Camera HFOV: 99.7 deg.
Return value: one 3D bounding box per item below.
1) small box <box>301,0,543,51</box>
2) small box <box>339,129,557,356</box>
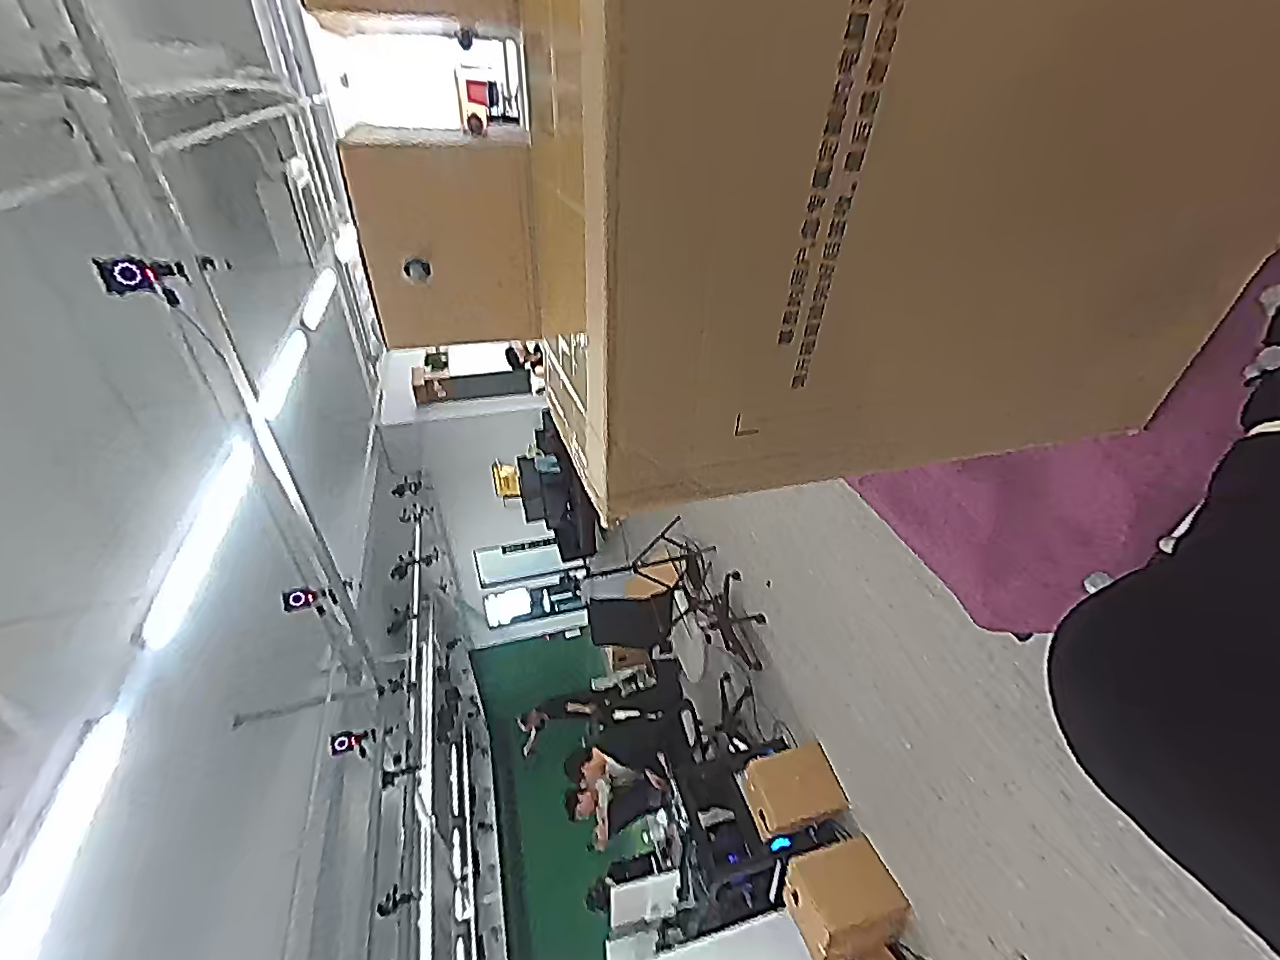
[{"bbox_3d":[-0.177,-0.445,0.411,0.168,0.176,0.179,-118,22,-53],"label":"small box"},{"bbox_3d":[-0.182,-0.245,0.550,0.168,0.176,0.179,-118,25,-49],"label":"small box"}]
